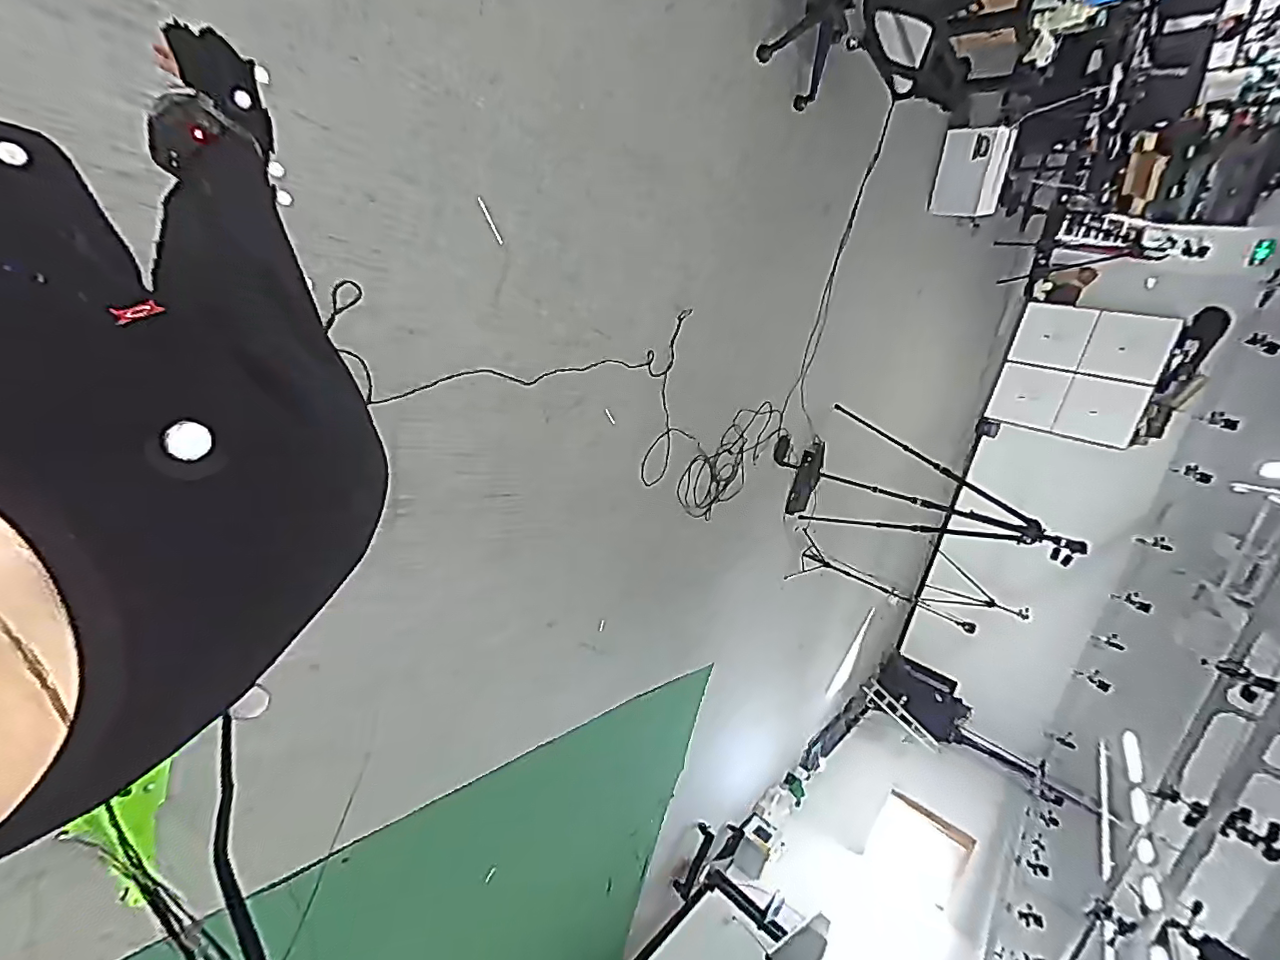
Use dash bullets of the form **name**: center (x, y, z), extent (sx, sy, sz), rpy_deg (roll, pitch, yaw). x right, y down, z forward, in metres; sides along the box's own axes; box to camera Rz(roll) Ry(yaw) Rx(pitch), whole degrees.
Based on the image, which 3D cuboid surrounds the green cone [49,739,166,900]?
- **green cone**: center (-1.193, 0.812, 1.243), extent (0.200, 0.368, 0.202), rpy_deg (3, 106, -52)
